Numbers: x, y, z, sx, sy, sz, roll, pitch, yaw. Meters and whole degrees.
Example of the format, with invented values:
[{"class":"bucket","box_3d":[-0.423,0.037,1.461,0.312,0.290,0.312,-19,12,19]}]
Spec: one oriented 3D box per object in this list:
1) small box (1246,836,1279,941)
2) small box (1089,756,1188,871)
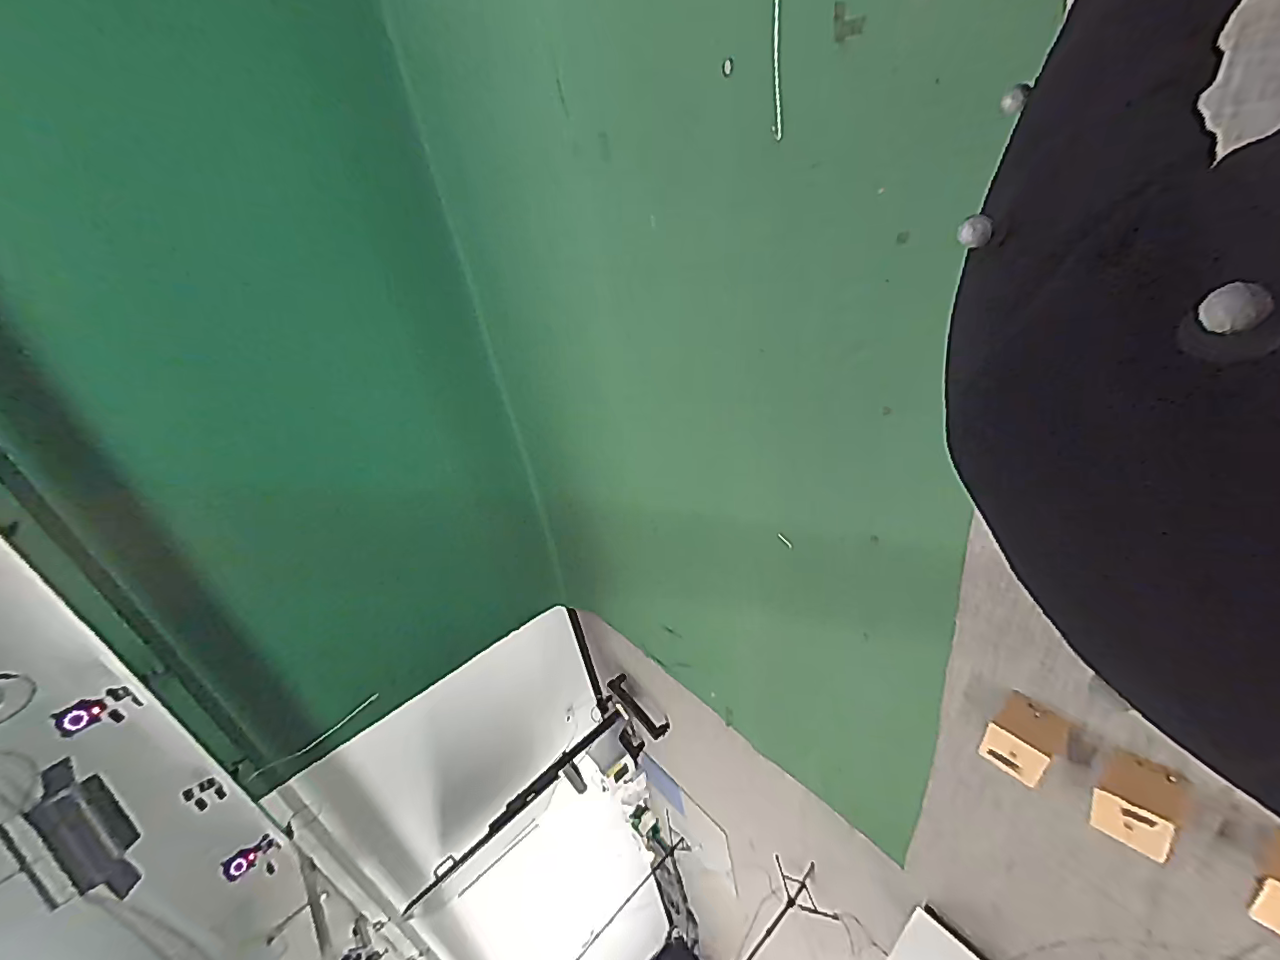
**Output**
[{"class":"small box","box_3d":[1.586,0.997,1.271,0.168,0.176,0.179,20,130,48]},{"class":"small box","box_3d":[1.387,0.916,1.505,0.168,0.176,0.179,16,129,51]}]
